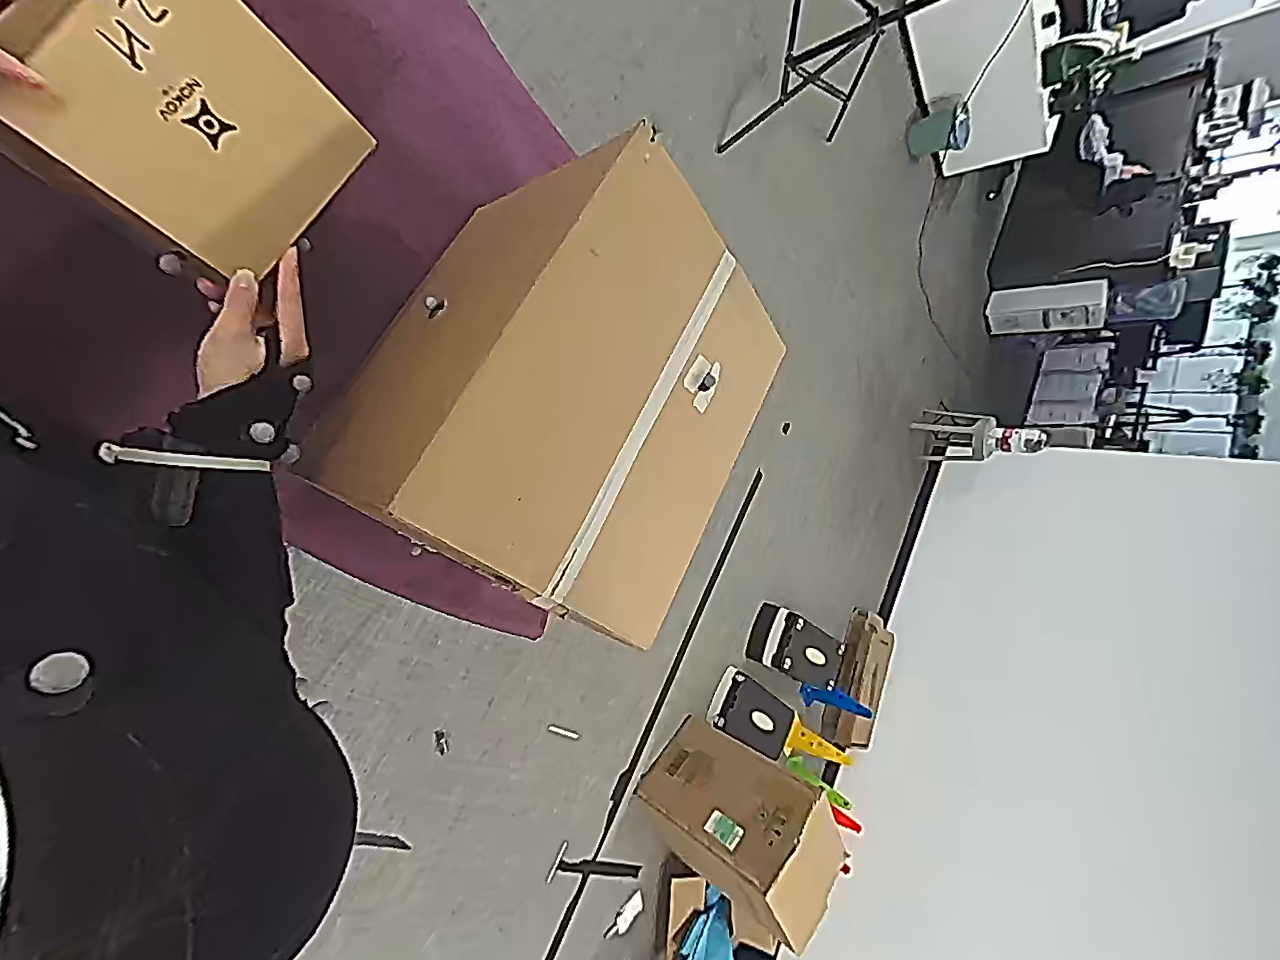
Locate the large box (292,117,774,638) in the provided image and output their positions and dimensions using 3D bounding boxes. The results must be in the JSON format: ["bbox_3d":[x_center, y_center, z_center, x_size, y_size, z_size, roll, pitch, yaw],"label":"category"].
[{"bbox_3d":[-0.105,-0.091,0.622,0.320,0.320,0.408,42,66,-41],"label":"large box"}]
